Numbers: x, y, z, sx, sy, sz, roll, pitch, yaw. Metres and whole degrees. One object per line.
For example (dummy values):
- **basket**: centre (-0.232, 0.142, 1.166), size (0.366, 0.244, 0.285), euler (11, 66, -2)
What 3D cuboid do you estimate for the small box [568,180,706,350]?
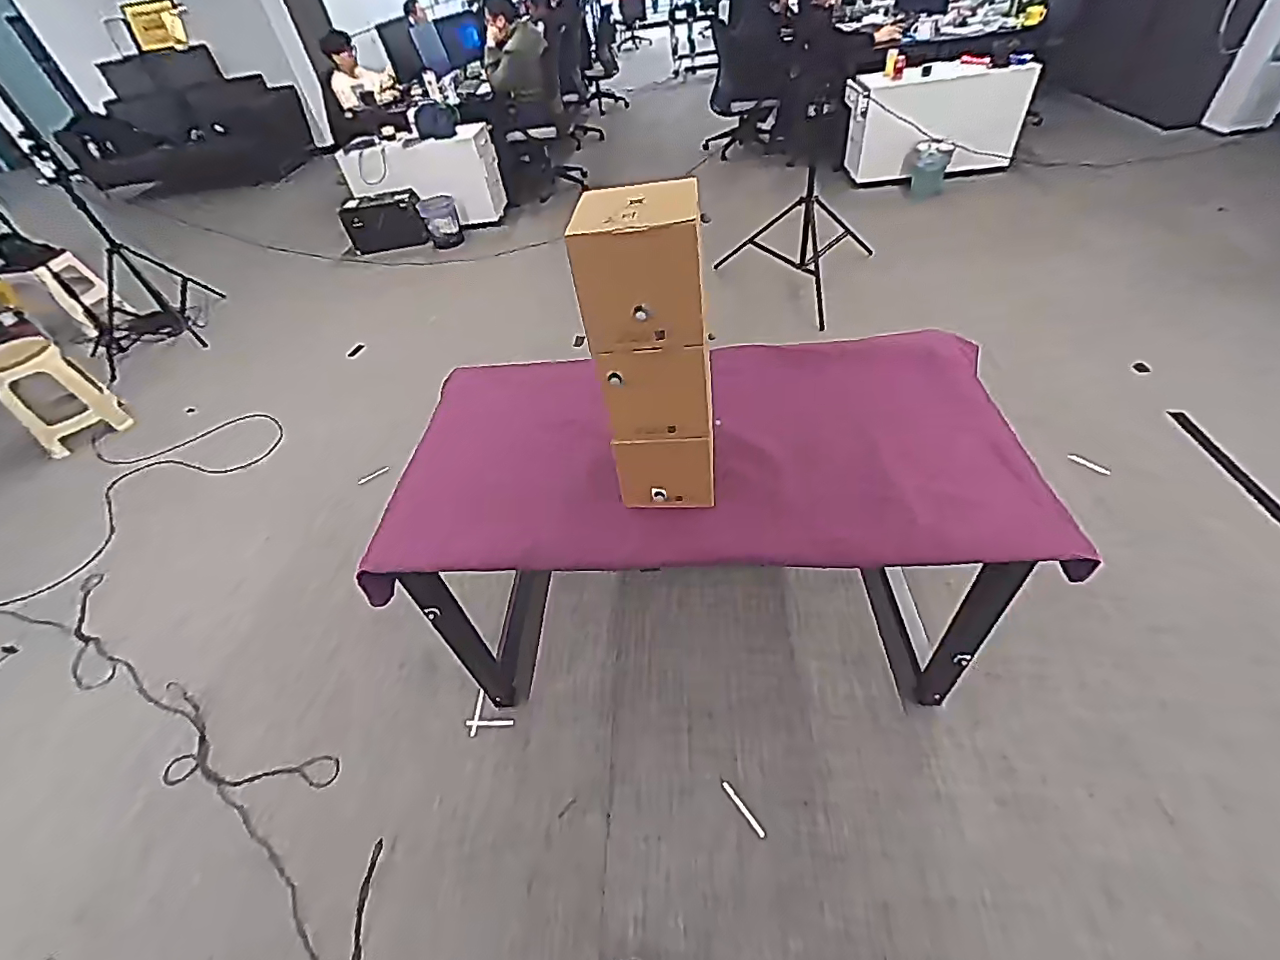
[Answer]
- **small box**: centre (0.006, -0.305, 0.772), size (0.168, 0.176, 0.179), euler (-3, 44, 8)

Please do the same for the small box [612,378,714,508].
- **small box**: centre (0.050, -0.066, 0.996), size (0.168, 0.176, 0.179), euler (-2, 46, 9)
